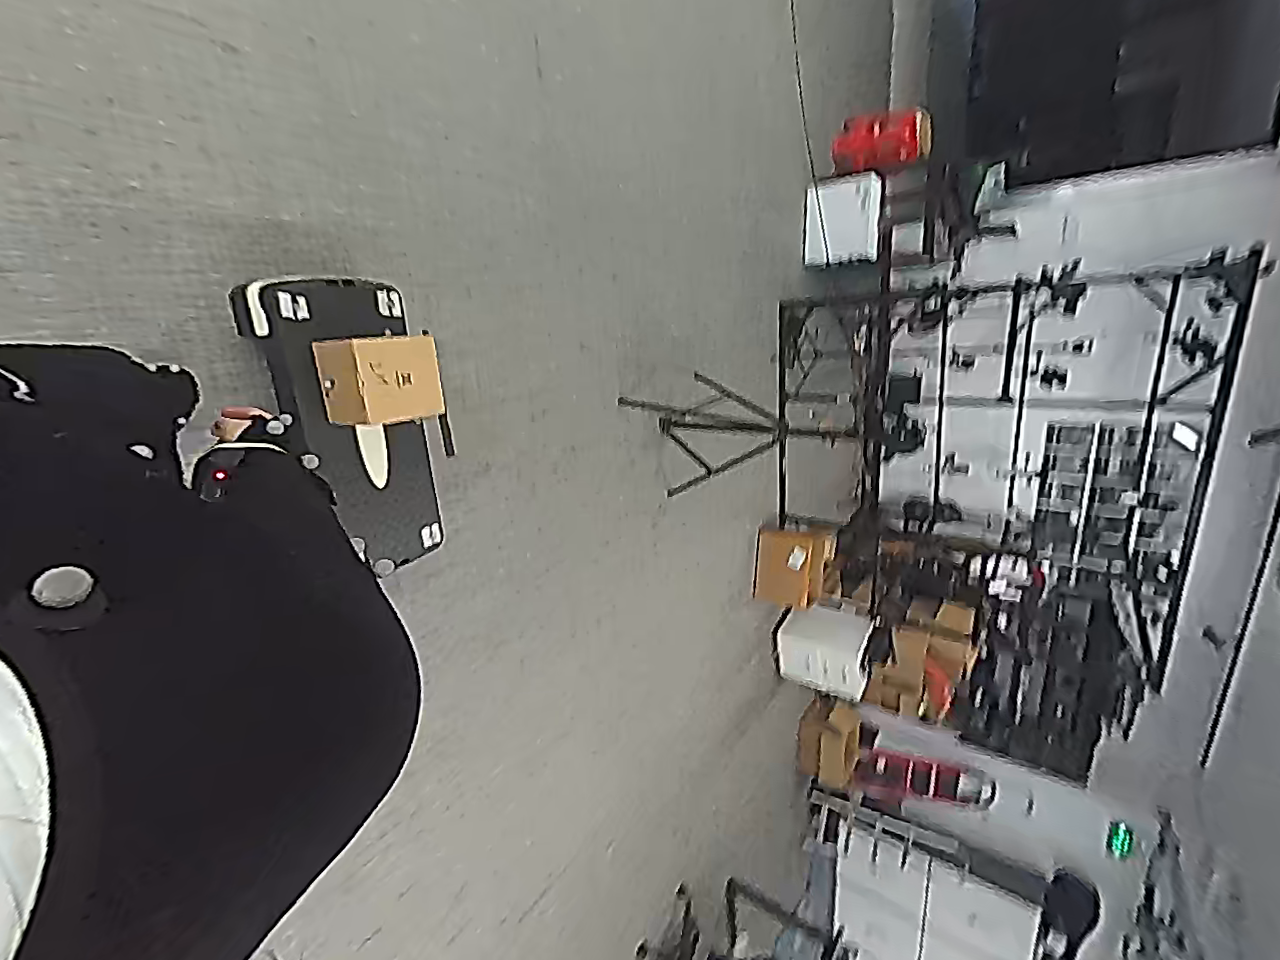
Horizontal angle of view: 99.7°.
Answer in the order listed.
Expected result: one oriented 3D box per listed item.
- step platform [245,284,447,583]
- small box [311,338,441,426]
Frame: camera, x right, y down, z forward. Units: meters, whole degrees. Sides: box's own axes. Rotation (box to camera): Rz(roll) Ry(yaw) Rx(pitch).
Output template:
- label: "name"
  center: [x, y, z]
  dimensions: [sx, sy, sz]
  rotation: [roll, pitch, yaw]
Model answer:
- label: "step platform"
  center: [-0.672, -0.105, 1.287]
  dimensions: [0.286, 0.204, 0.684]
  rotation: [-24, 115, -50]
- label: "small box"
  center: [-0.551, -0.211, 1.135]
  dimensions: [0.179, 0.176, 0.168]
  rotation: [-22, 113, -50]
